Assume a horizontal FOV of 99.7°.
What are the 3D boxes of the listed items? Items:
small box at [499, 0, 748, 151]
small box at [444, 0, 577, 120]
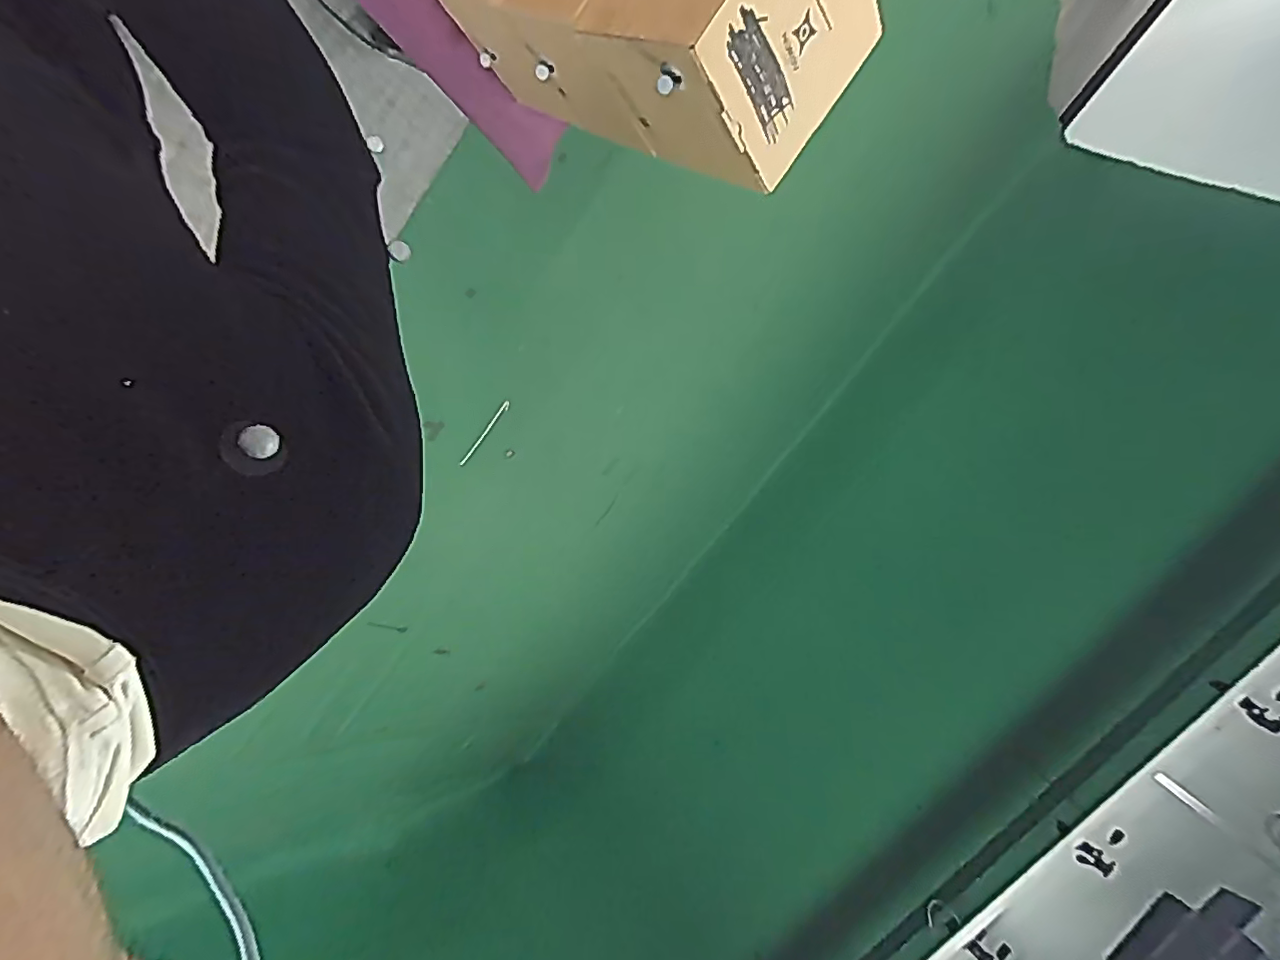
[{"bbox_3d":[-0.020,-0.511,0.588,0.179,0.176,0.168,-51,146,7],"label":"small box"},{"bbox_3d":[-0.123,-0.605,0.673,0.168,0.176,0.179,-51,148,6],"label":"small box"}]
